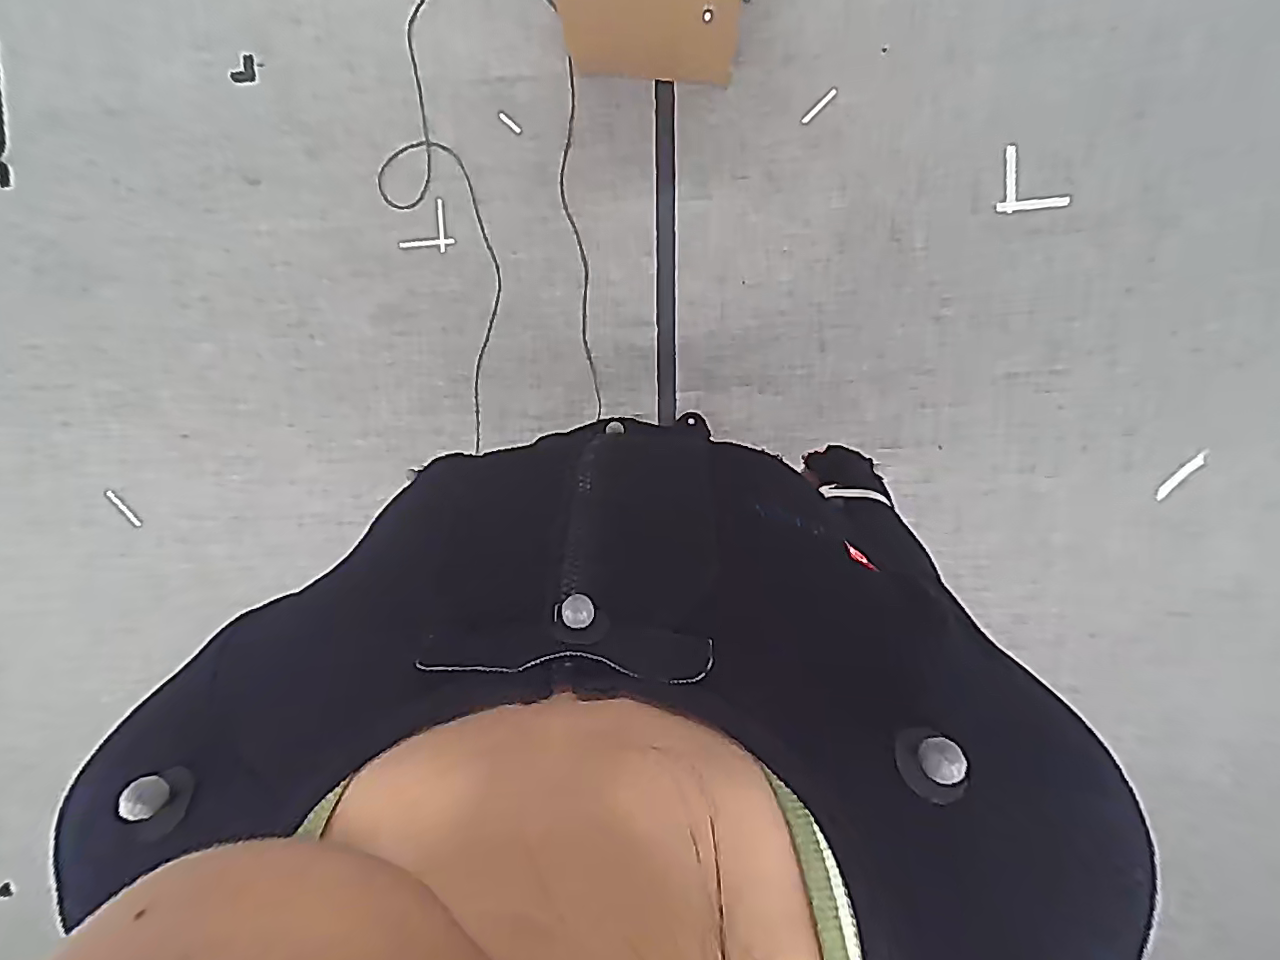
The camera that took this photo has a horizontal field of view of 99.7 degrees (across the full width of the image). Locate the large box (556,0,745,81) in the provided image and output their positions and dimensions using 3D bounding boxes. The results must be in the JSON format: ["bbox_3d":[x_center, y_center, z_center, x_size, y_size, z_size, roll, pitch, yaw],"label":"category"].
[{"bbox_3d":[0.037,-1.163,1.218,0.408,0.320,0.320,6,96,2],"label":"large box"}]
